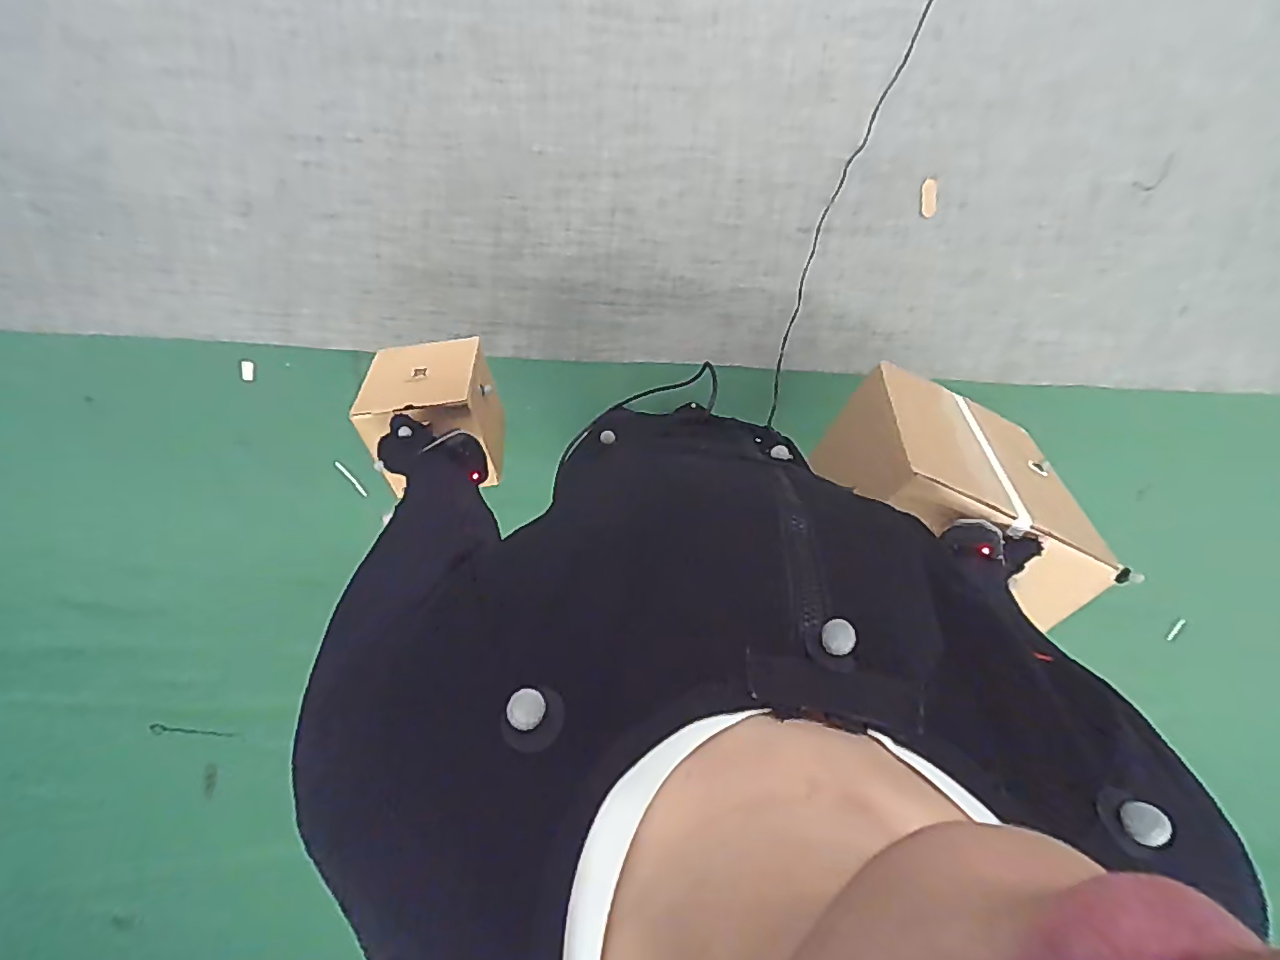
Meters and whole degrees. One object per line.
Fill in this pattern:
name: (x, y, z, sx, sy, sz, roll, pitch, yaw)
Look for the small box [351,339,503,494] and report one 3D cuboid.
small box: (-0.323, -0.101, 0.866, 0.168, 0.179, 0.176, -8, 136, -1)
